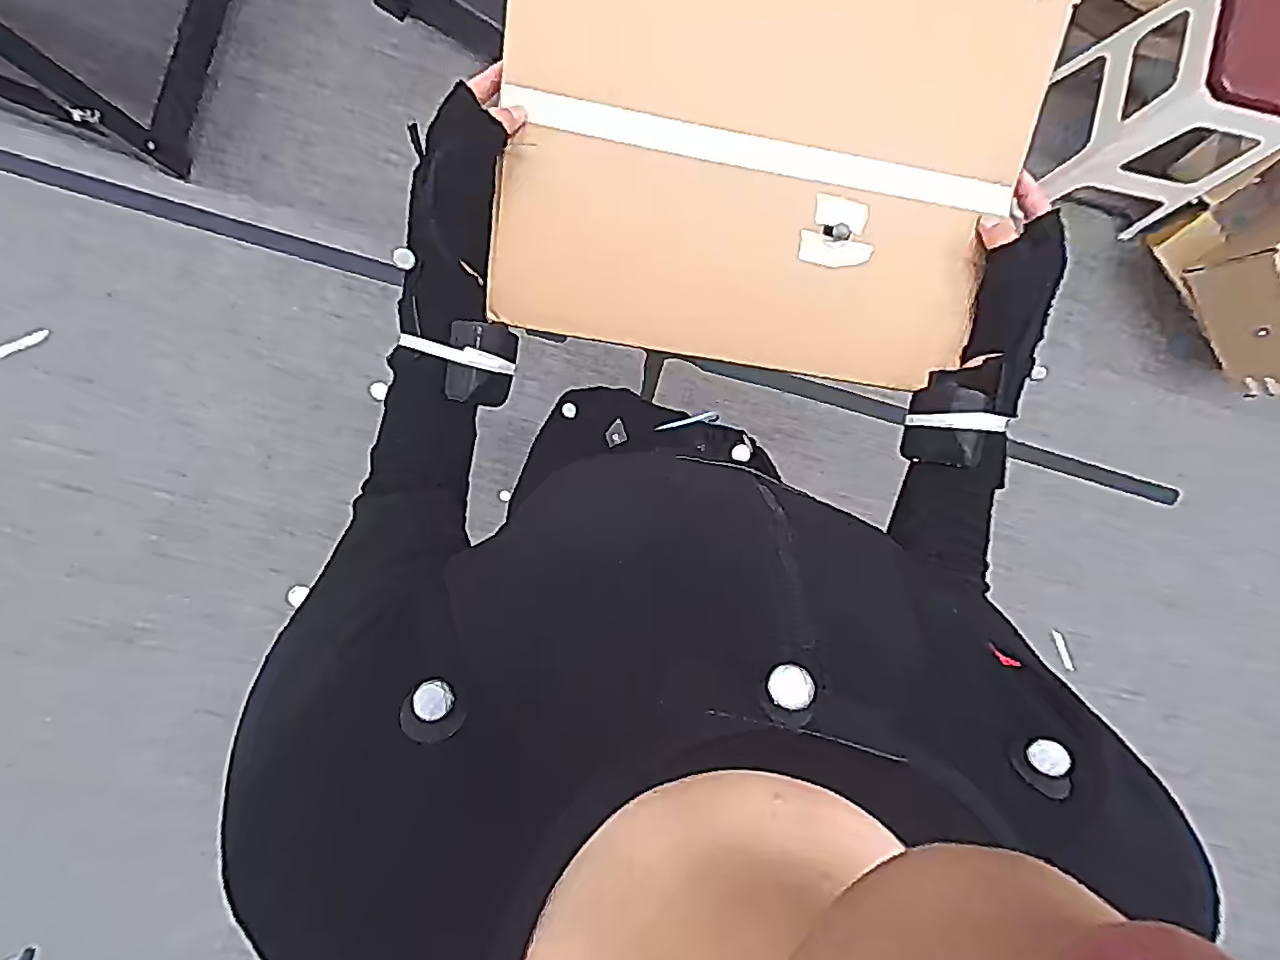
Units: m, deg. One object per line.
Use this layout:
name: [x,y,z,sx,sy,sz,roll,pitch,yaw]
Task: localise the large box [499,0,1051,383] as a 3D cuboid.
large box: [0.085,-0.299,0.571,0.408,0.320,0.320,8,107,-7]
